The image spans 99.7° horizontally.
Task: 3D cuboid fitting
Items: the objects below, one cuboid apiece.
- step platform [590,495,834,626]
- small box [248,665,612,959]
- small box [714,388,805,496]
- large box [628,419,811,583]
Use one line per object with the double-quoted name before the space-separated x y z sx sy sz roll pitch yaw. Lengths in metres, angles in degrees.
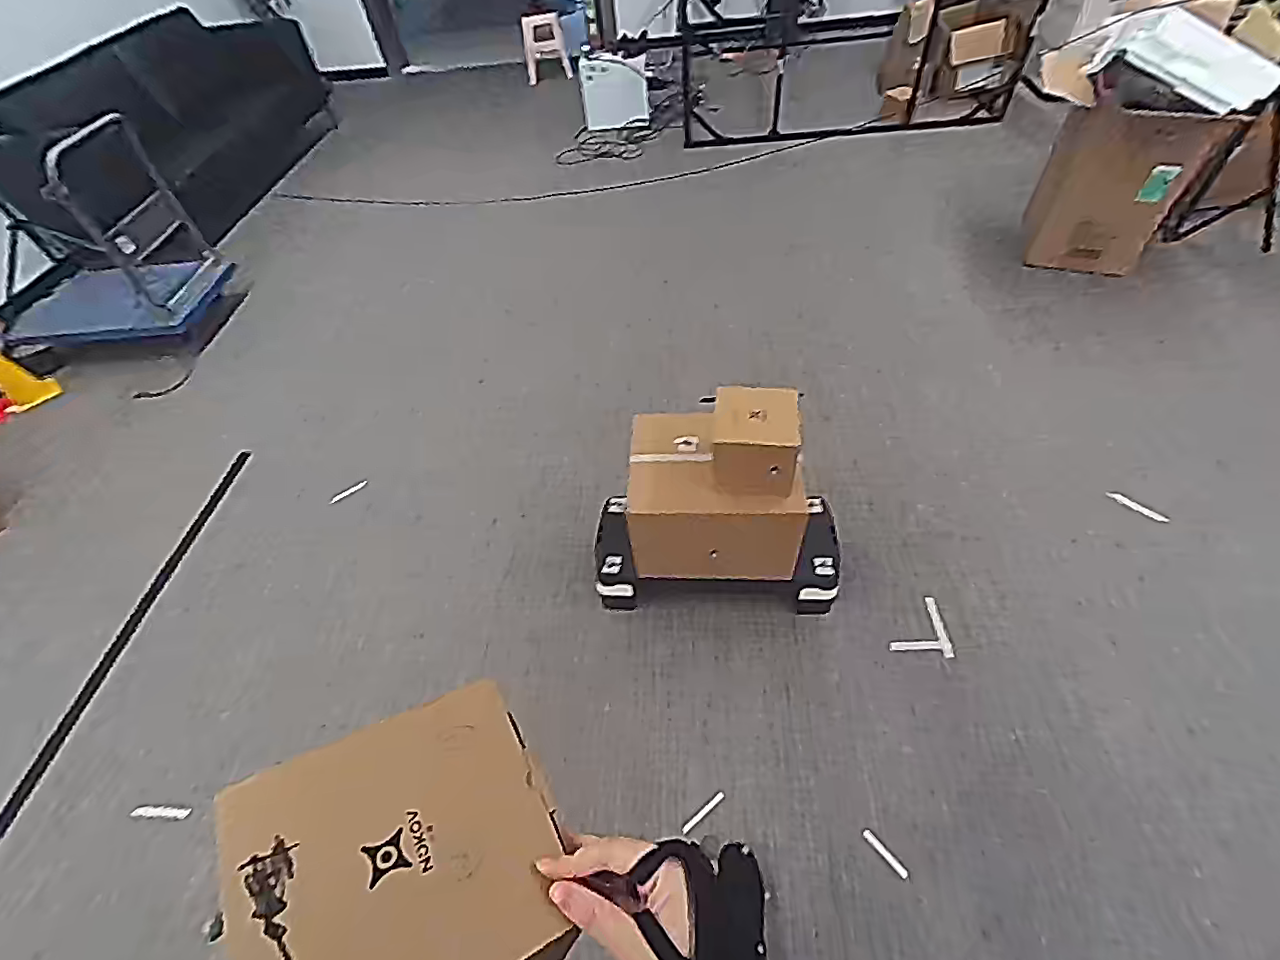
"step platform" 0.200 0.221 1.563 0.684 0.204 0.286 3 52 10
"small box" -0.143 0.265 0.371 0.179 0.176 0.168 -12 46 -29
"small box" 0.255 -0.080 1.175 0.179 0.176 0.168 3 52 10
"large box" 0.196 0.058 1.387 0.408 0.320 0.320 -1 50 7
